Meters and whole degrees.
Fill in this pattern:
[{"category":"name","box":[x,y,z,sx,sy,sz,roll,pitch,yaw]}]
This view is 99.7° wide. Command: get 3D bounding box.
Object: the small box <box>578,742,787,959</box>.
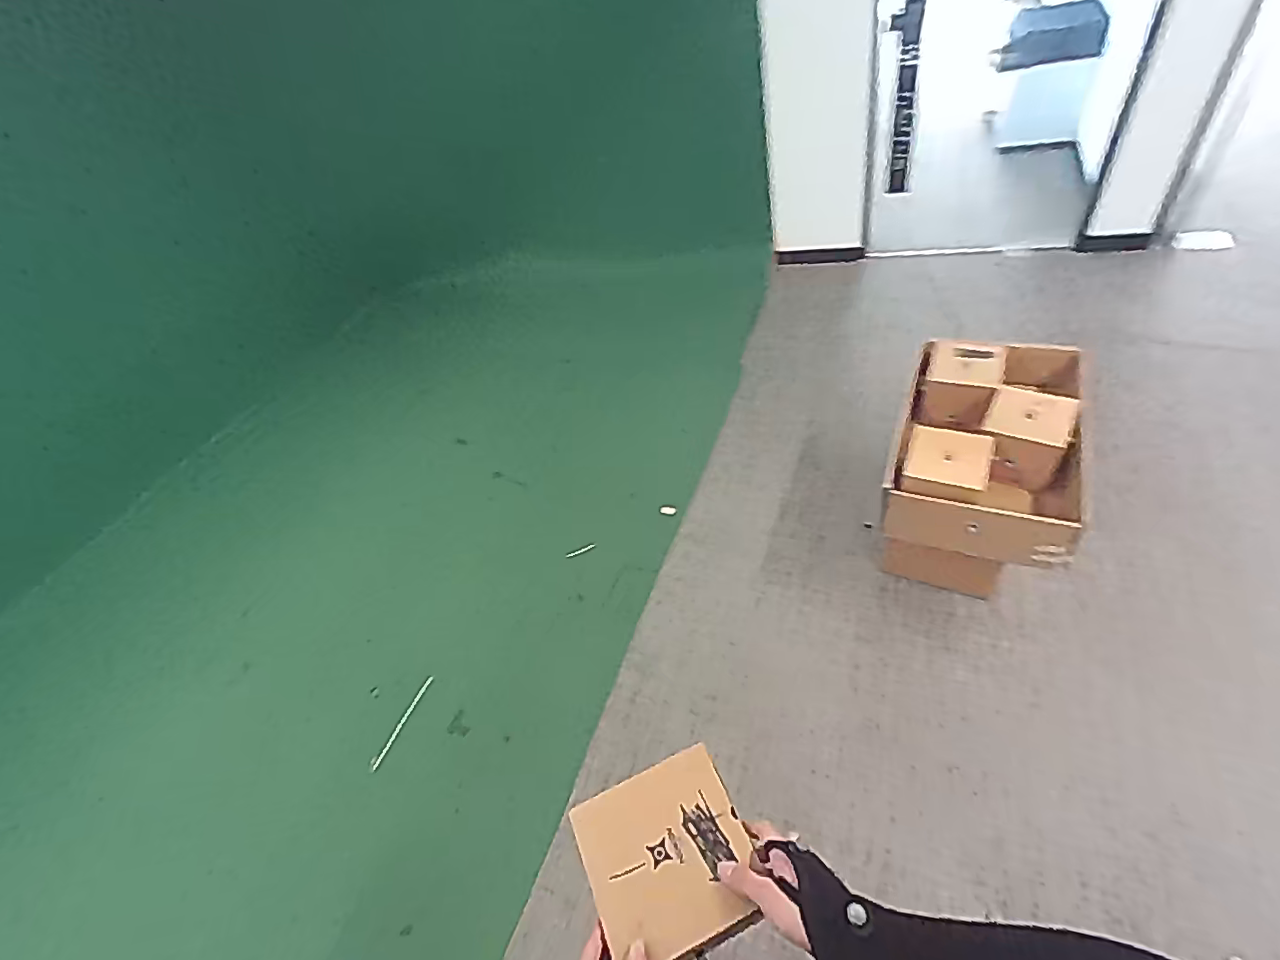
[{"category":"small box","box":[0.046,0.442,0.627,0.179,0.176,0.168,-21,48,-10]}]
